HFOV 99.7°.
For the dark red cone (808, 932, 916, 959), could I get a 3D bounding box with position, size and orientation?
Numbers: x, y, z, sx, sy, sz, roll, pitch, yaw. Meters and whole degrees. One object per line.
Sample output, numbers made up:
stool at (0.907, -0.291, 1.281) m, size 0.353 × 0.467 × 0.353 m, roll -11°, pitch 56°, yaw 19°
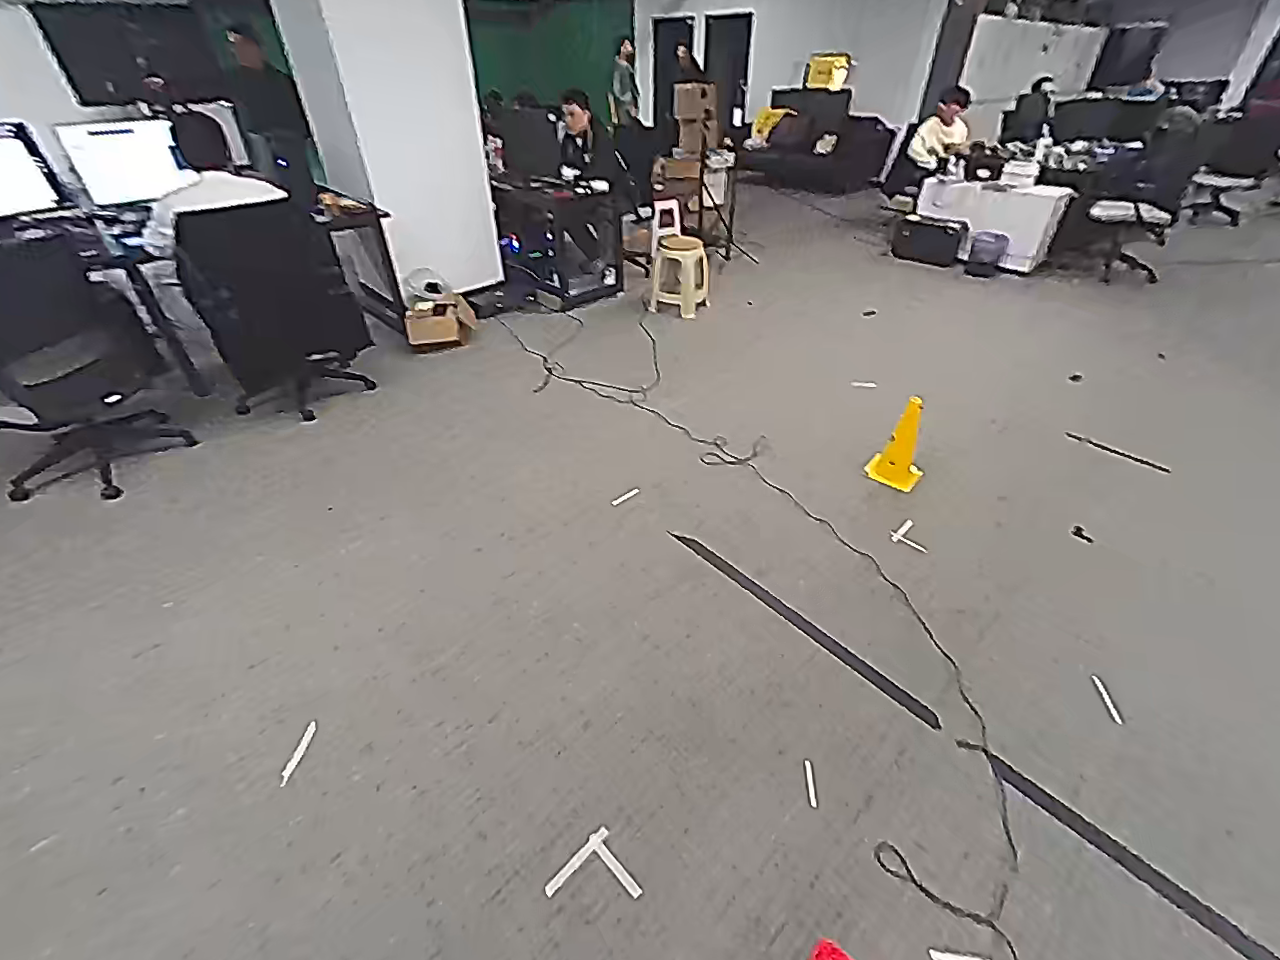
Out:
dark red cone at (0.376, 0.839, 0.865) m, size 0.202 × 0.394 × 0.201 m, roll 27°, pitch 44°, yaw 31°
